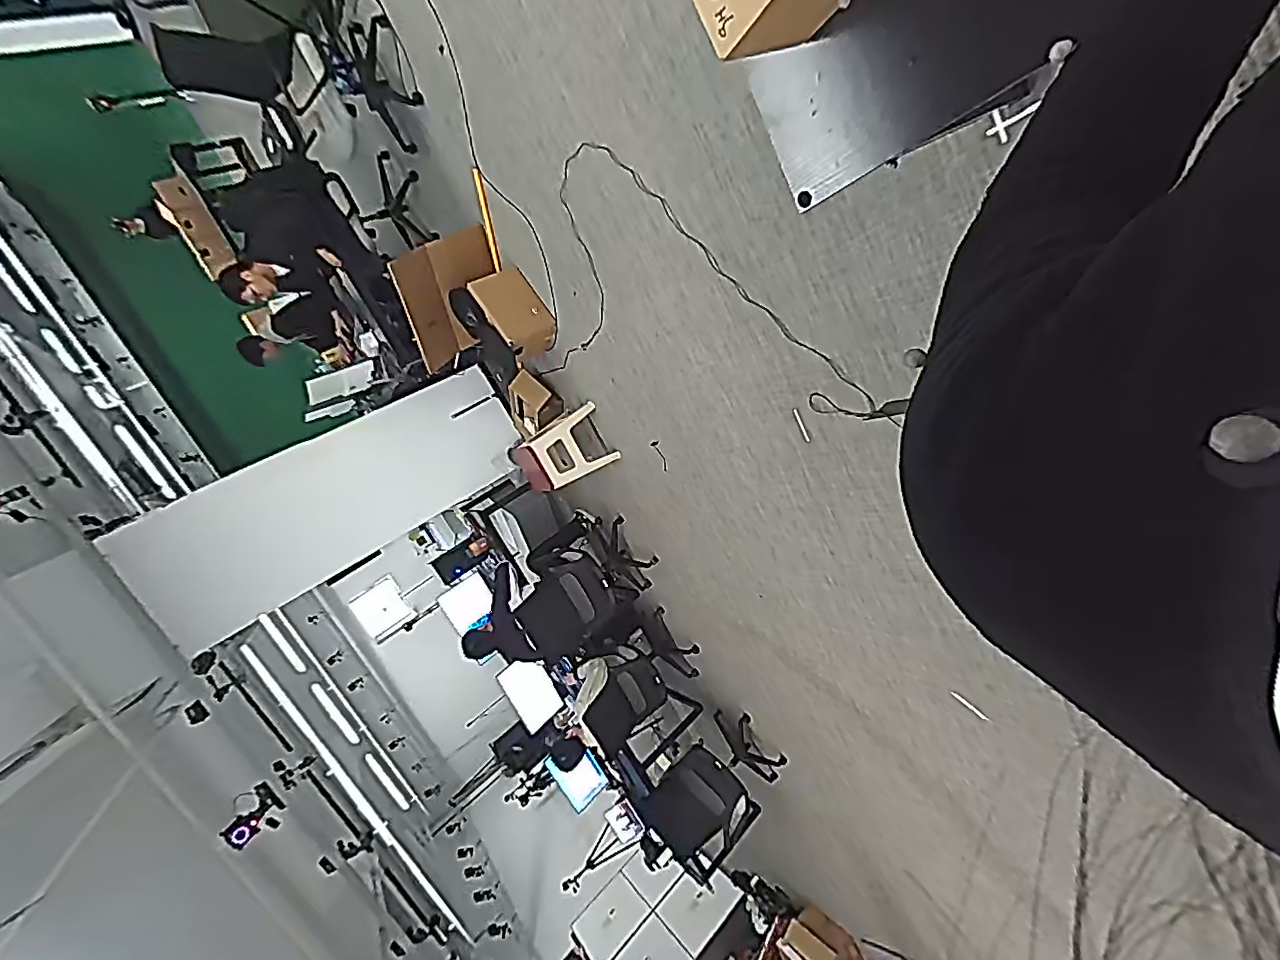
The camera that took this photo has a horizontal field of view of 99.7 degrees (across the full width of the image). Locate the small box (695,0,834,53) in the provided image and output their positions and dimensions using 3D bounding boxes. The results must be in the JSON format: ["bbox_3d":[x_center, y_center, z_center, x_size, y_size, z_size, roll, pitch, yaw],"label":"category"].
[{"bbox_3d":[0.154,-0.610,0.575,0.179,0.176,0.168,-11,111,59],"label":"small box"}]
